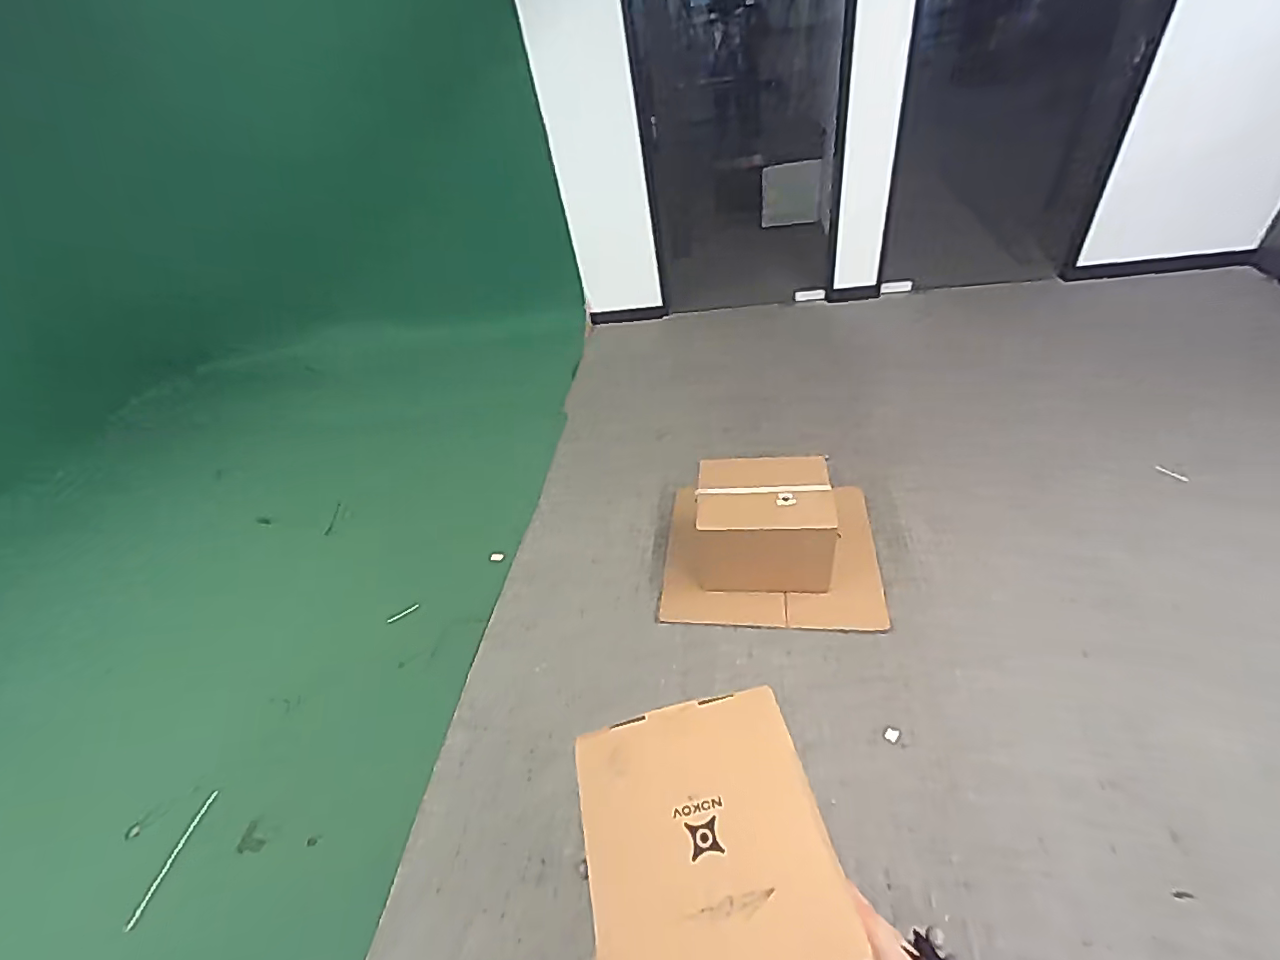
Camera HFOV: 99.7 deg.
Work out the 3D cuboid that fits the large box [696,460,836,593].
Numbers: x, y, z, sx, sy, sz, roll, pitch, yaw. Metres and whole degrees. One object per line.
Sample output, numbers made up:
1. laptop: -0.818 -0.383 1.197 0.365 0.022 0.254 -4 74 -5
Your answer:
1. large box: 0.392 0.154 1.756 0.408 0.320 0.320 -1 43 10
